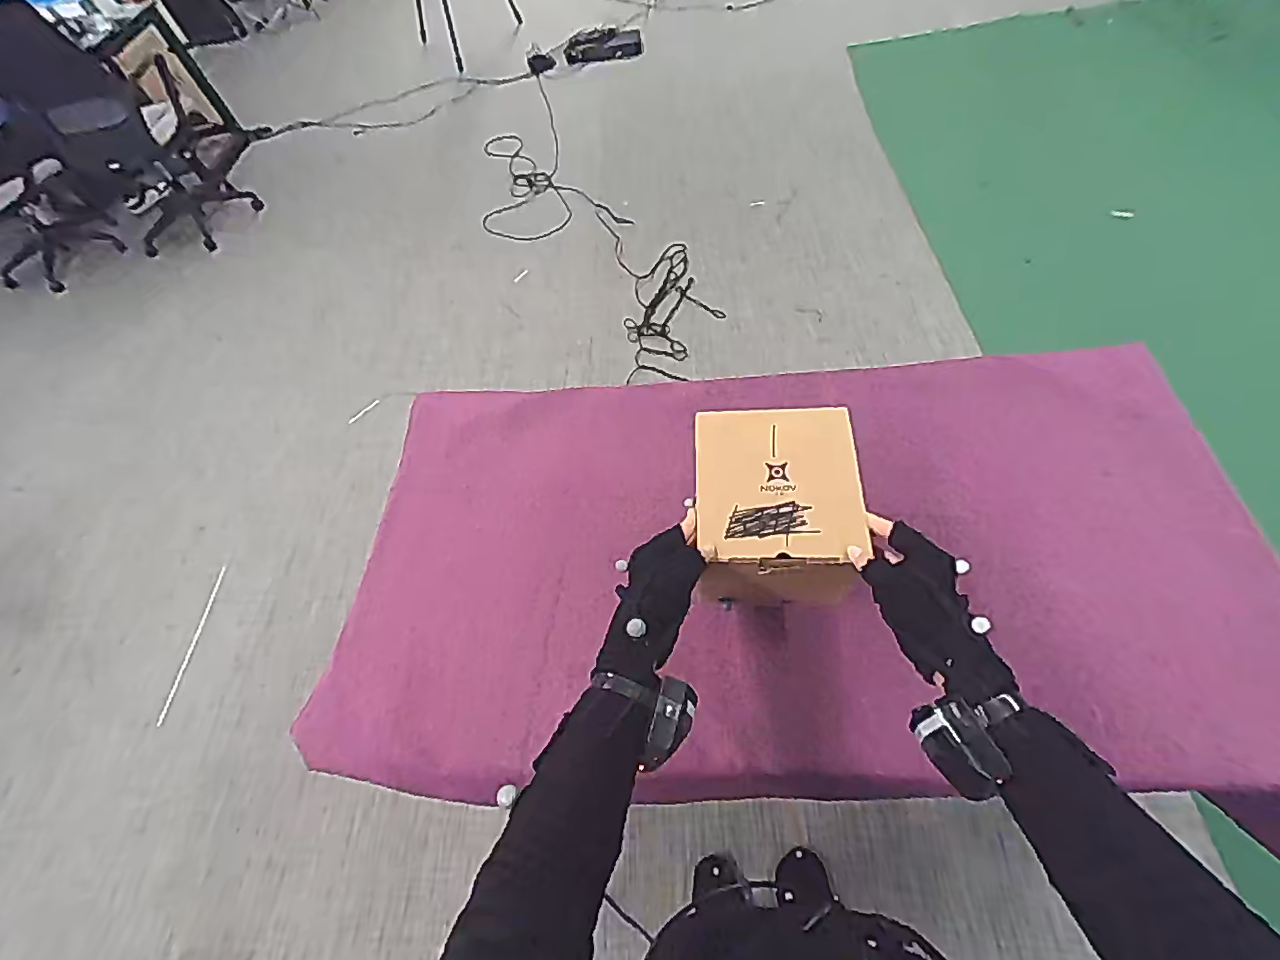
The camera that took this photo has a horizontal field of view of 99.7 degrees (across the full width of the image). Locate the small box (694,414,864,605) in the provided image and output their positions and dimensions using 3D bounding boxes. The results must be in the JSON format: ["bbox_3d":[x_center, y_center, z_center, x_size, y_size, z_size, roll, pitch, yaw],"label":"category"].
[{"bbox_3d":[0.149,0.043,0.633,0.168,0.176,0.179,-2,62,7],"label":"small box"}]
